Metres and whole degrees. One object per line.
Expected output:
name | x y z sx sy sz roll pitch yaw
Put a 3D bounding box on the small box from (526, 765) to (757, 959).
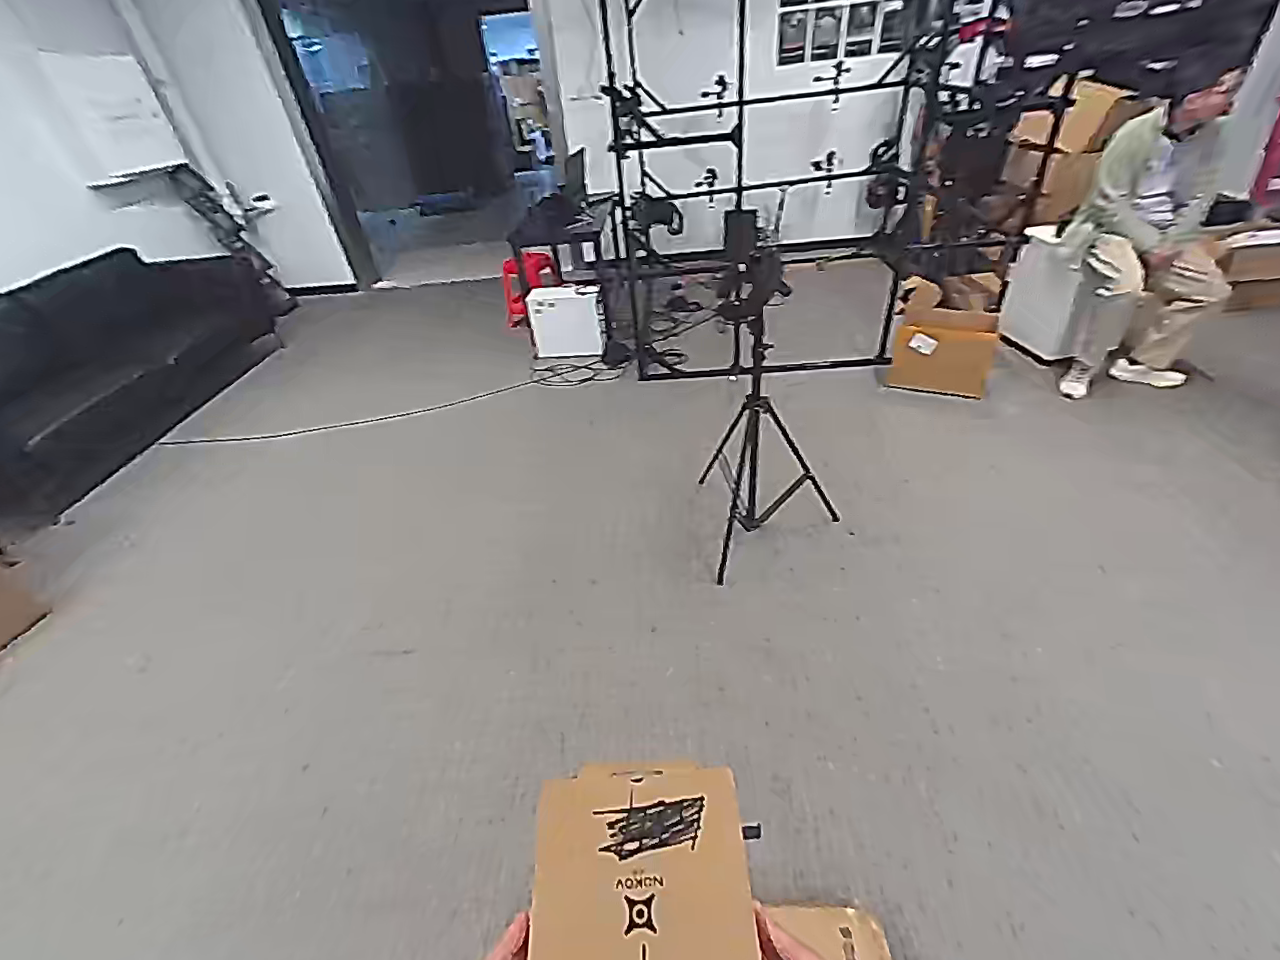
small box | 0.004 0.369 0.461 0.168 0.176 0.179 -5 44 1
